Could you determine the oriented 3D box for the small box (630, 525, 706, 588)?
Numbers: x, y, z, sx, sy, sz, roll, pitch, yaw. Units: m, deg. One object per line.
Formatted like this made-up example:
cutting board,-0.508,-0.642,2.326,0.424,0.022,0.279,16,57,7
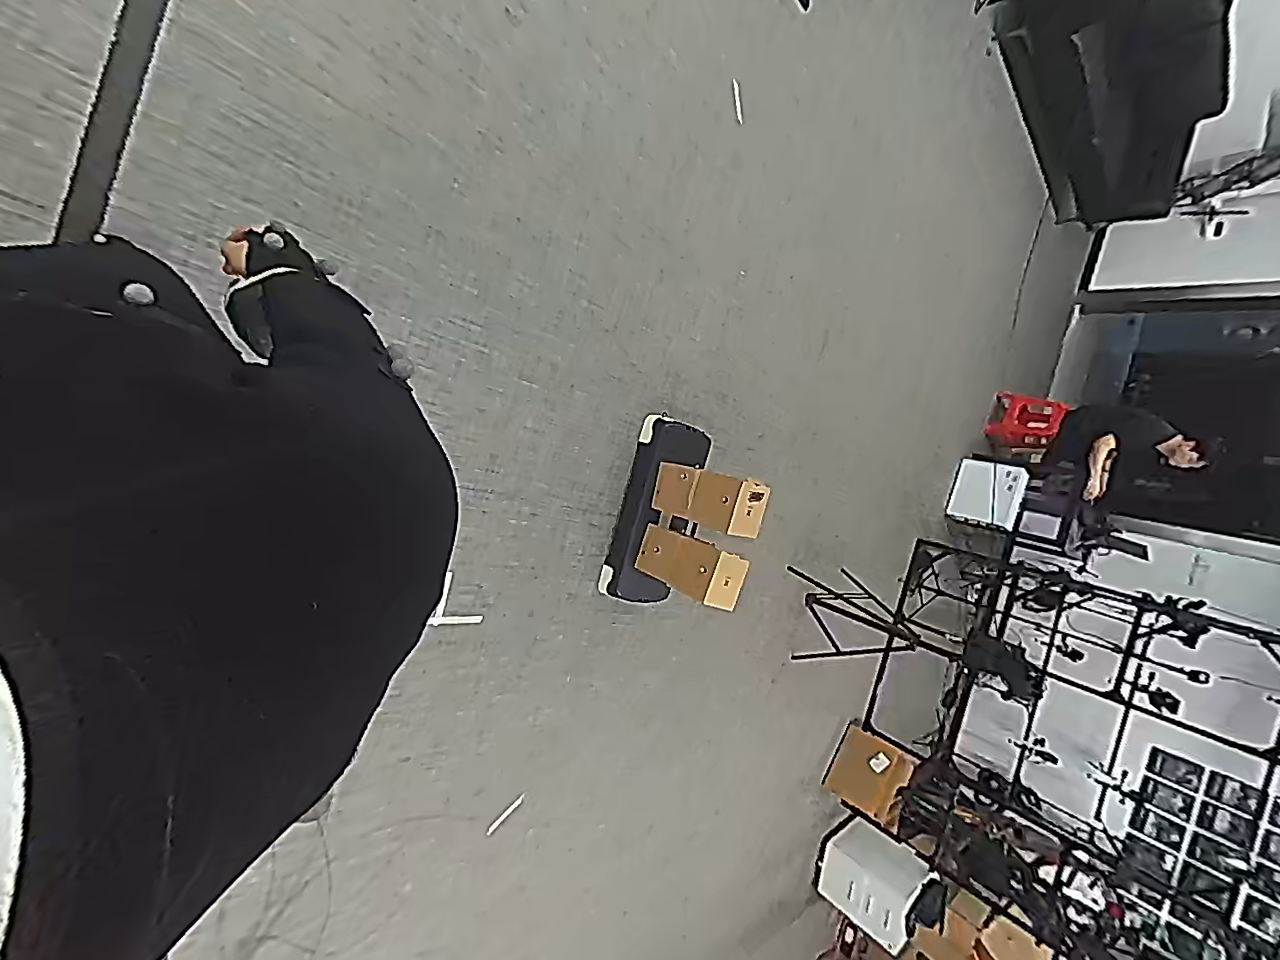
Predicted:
small box,0.093,0.262,1.881,0.179,0.176,0.168,21,88,-44
